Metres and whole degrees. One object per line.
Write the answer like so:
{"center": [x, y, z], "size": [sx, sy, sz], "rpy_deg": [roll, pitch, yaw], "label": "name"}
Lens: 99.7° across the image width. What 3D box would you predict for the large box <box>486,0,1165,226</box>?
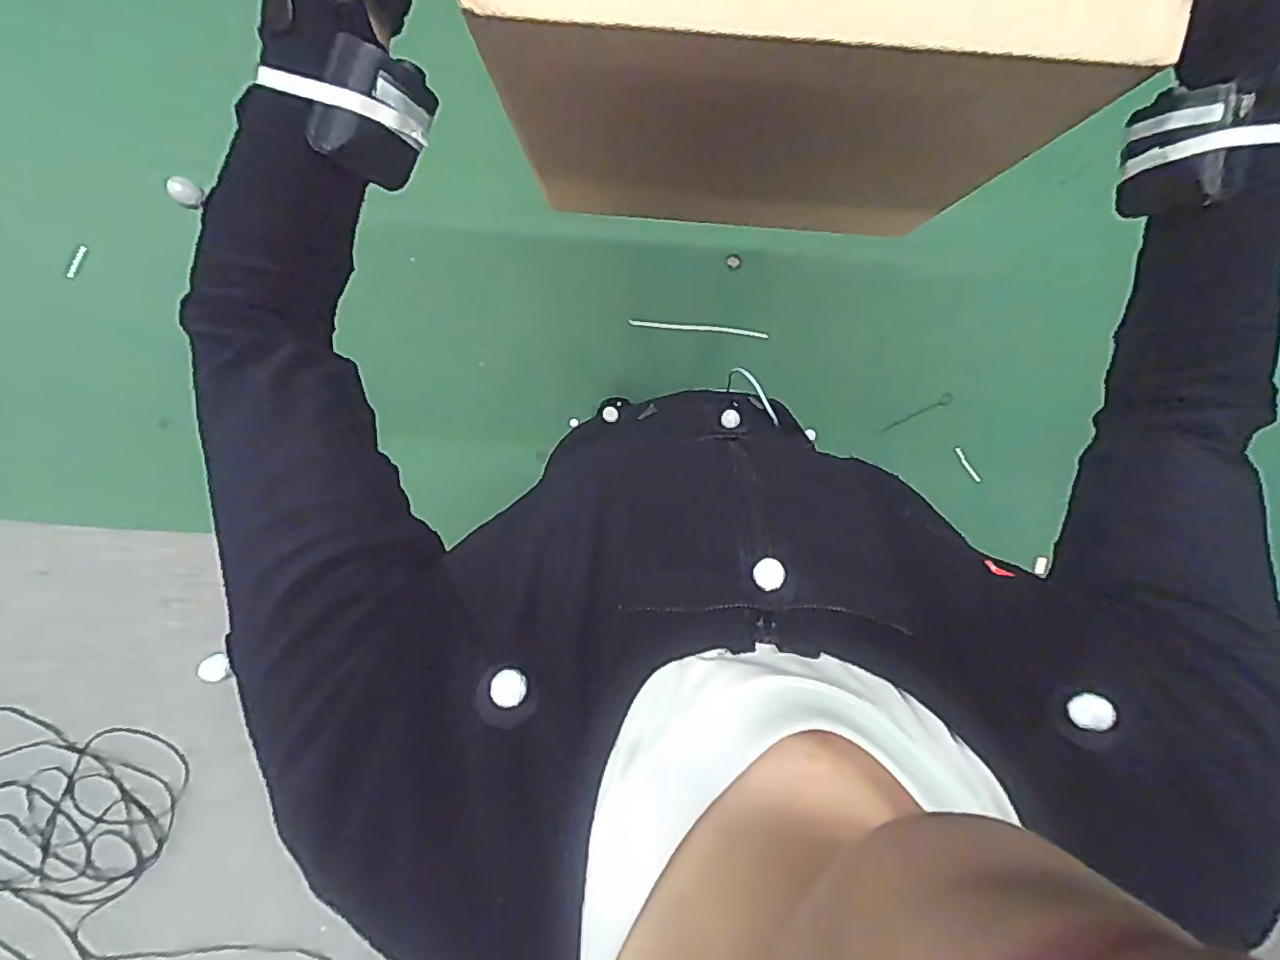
{"center": [0.109, -0.425, 0.442], "size": [0.408, 0.320, 0.320], "rpy_deg": [3, 98, -2], "label": "large box"}
